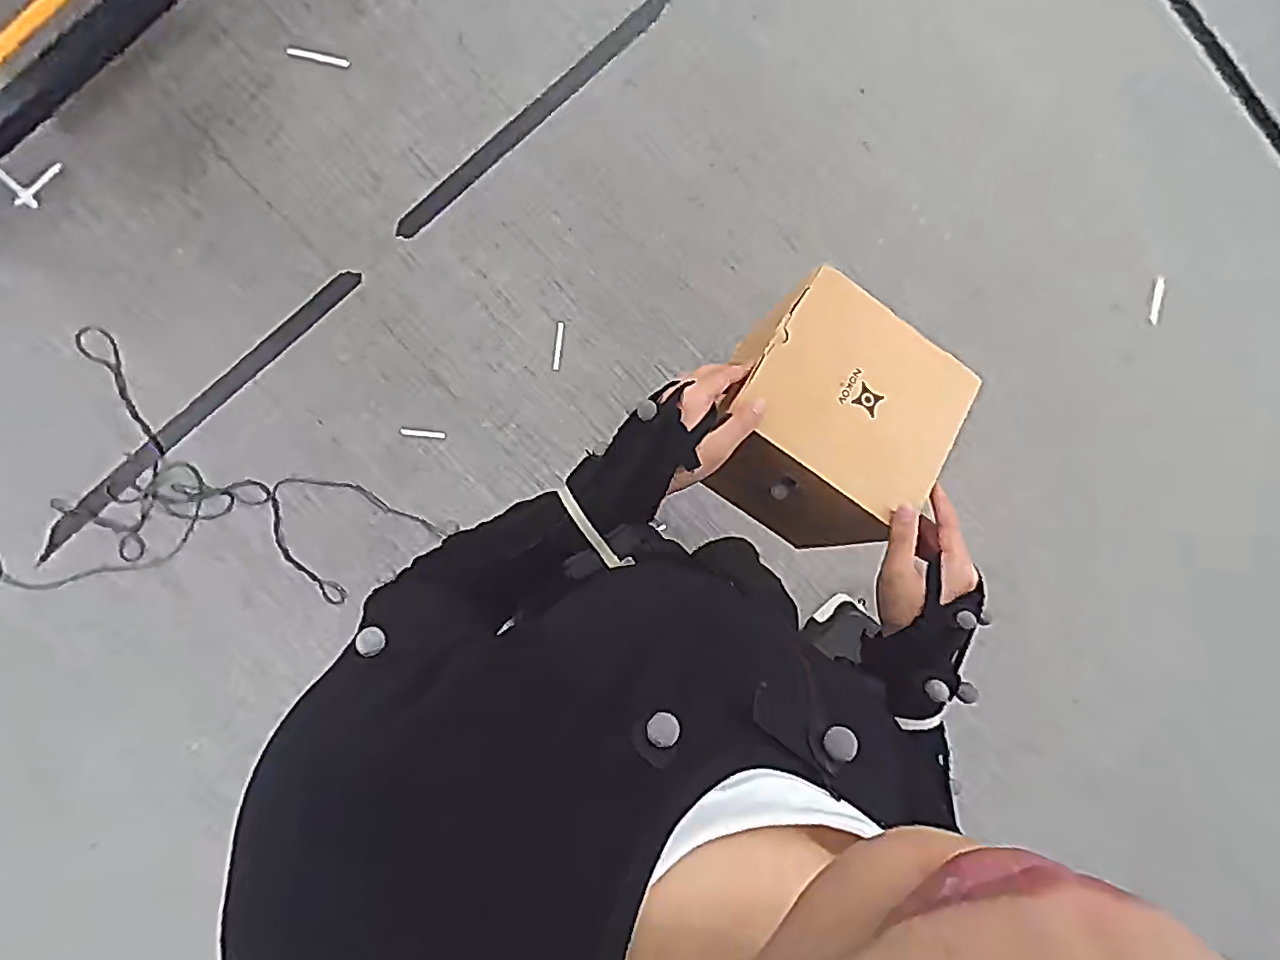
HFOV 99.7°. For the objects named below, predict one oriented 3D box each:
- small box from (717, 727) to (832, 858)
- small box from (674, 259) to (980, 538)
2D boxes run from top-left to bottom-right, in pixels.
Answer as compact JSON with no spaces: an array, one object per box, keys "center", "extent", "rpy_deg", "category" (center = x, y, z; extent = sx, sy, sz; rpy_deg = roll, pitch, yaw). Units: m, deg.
[{"center":[0.303,0.710,1.260],"extent":[0.168,0.176,0.179],"rpy_deg":[-39,95,-1],"category":"small box"},{"center":[0.158,-0.057,0.506],"extent":[0.179,0.176,0.168],"rpy_deg":[33,75,-4],"category":"small box"}]
